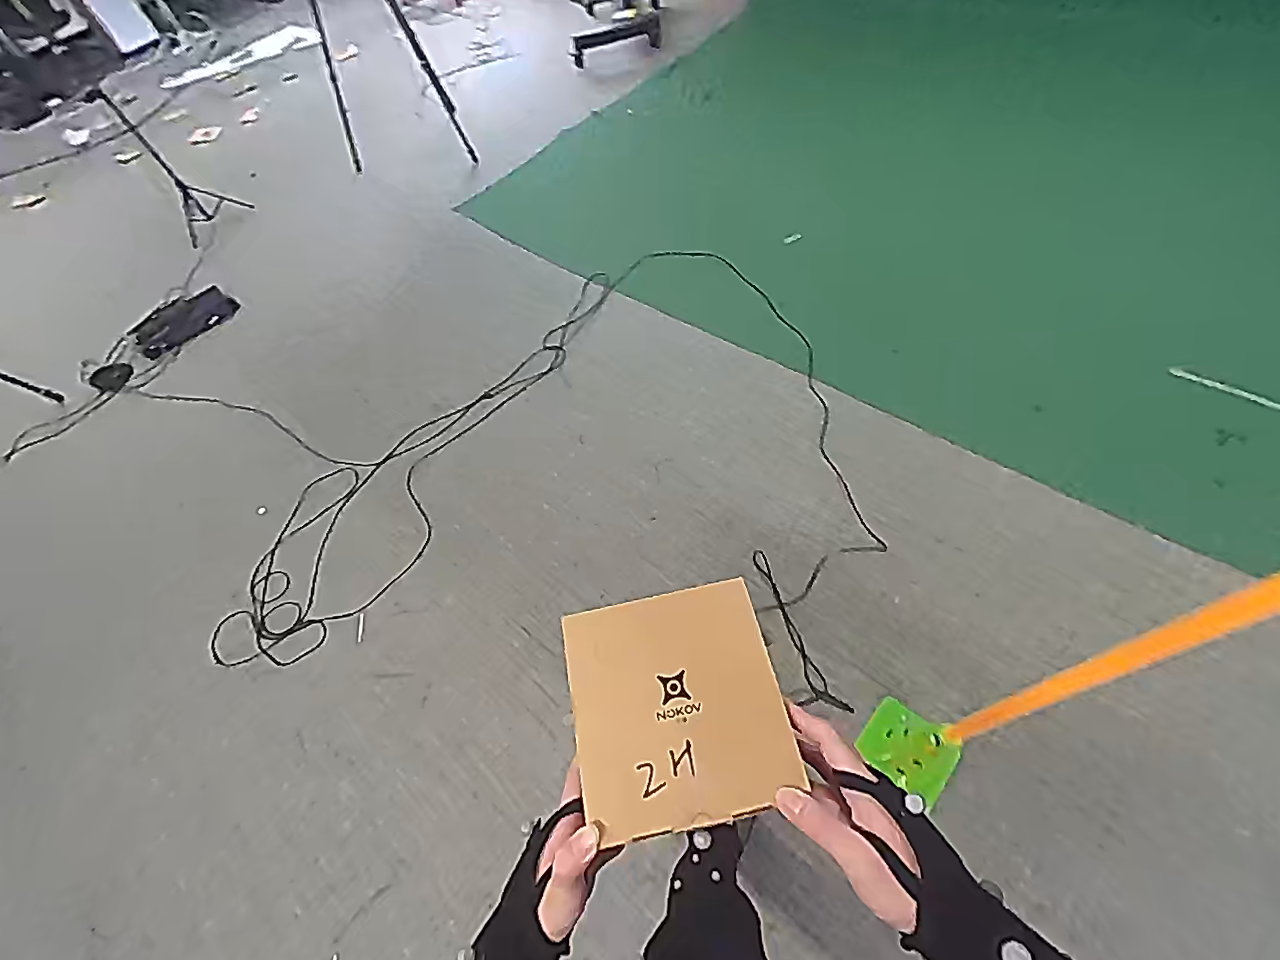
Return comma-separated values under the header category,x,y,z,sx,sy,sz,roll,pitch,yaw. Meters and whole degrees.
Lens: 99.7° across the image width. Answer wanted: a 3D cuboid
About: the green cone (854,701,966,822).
category,x,y,z,sx,sy,sz,roll,pitch,yaw
green cone,0.621,0.573,1.159,0.202,0.368,0.200,34,68,28
